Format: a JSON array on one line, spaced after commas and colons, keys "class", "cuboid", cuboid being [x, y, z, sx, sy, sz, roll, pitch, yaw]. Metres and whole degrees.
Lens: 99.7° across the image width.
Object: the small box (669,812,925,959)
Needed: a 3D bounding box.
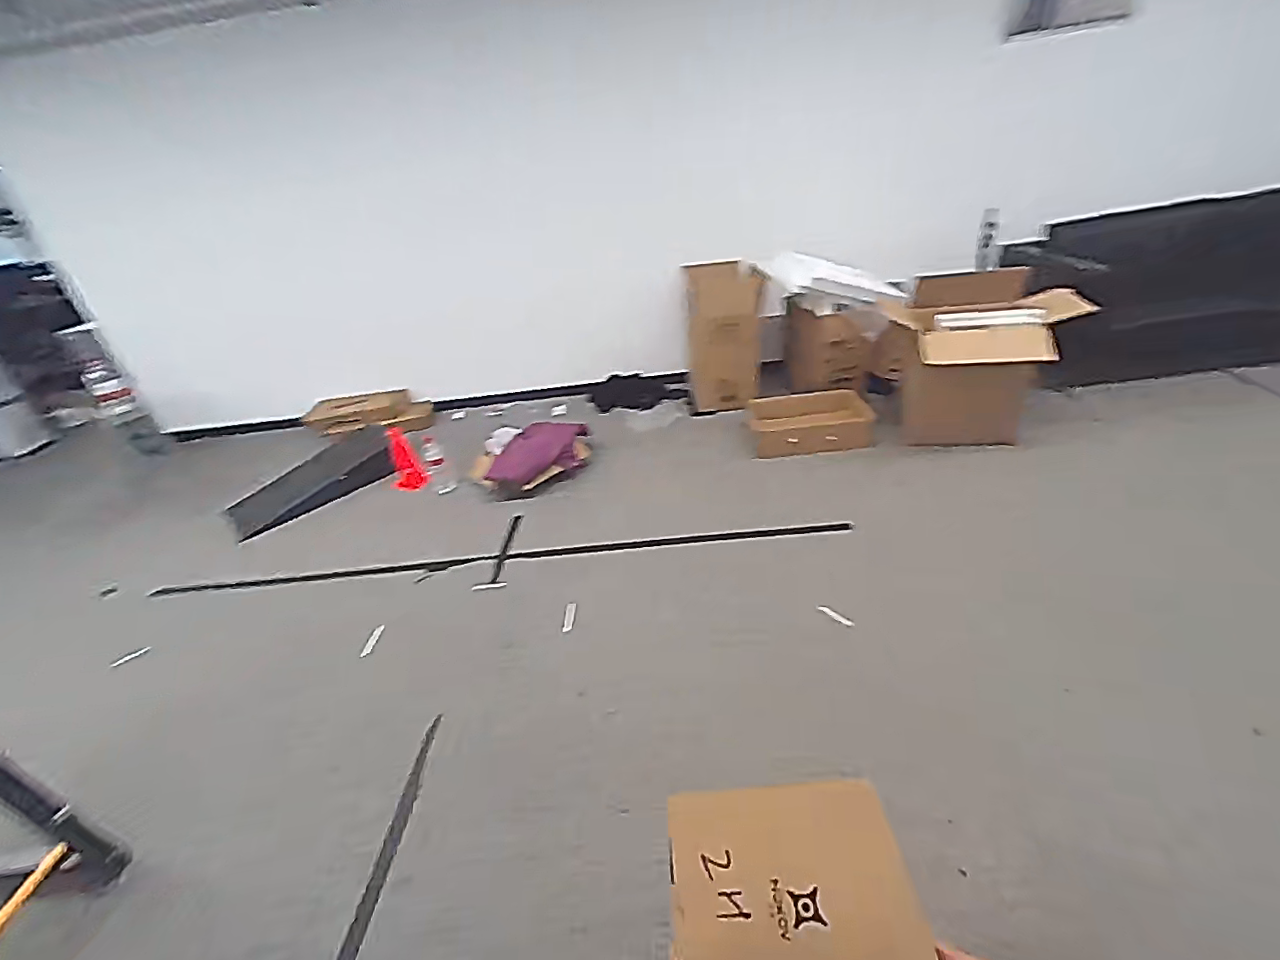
[{"class": "small box", "cuboid": [0.121, 0.397, 0.437, 0.179, 0.176, 0.168, -8, 37, 3]}]
